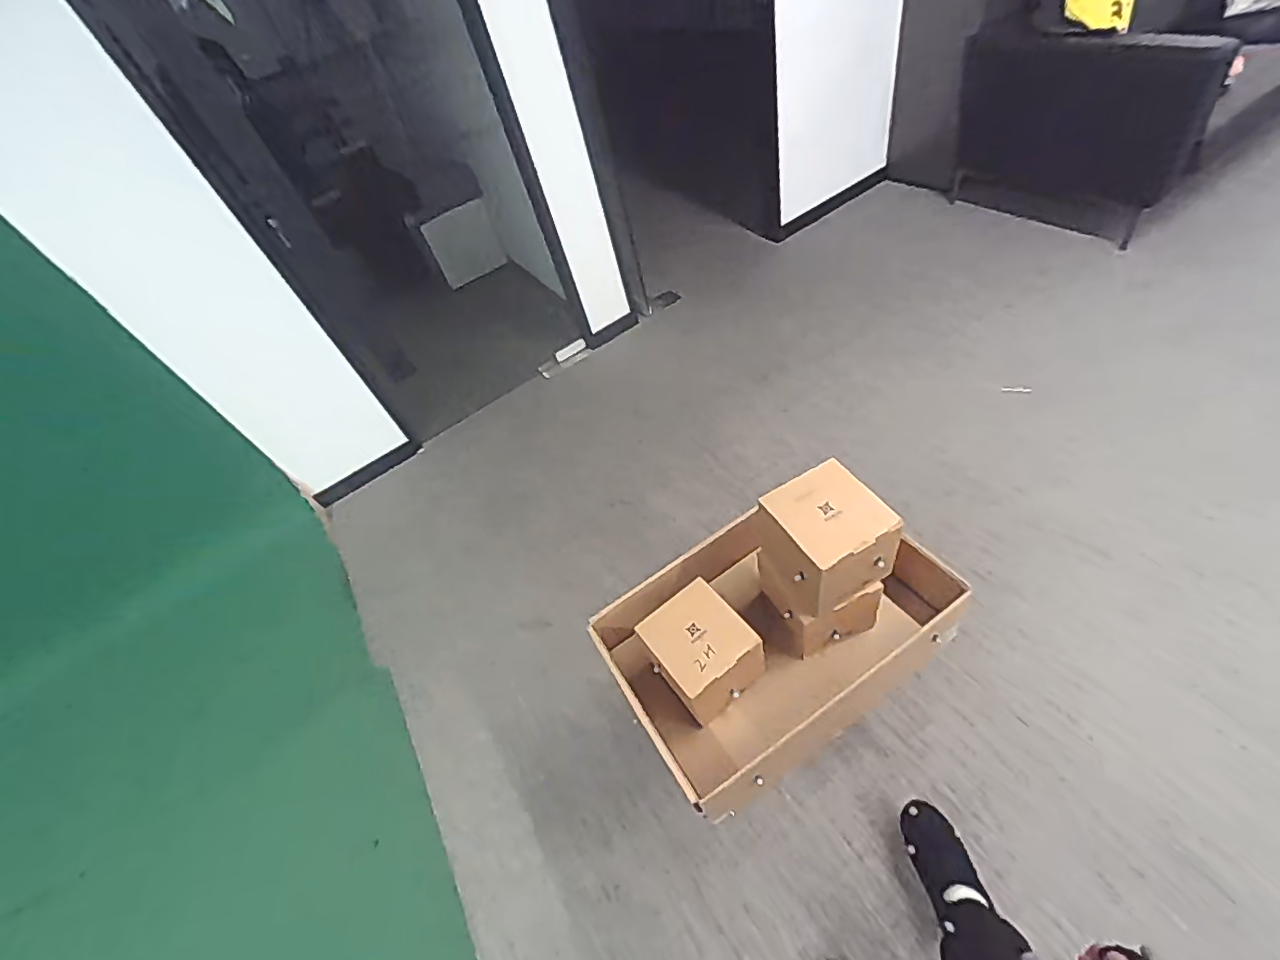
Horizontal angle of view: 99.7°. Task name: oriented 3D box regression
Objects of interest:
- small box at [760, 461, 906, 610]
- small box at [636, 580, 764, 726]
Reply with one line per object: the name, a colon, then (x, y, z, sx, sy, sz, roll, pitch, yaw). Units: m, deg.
small box: (0.332, 0.105, 0.956, 0.168, 0.176, 0.179, -27, 48, -9)
small box: (0.119, 0.333, 1.037, 0.168, 0.176, 0.179, -34, 50, -14)
